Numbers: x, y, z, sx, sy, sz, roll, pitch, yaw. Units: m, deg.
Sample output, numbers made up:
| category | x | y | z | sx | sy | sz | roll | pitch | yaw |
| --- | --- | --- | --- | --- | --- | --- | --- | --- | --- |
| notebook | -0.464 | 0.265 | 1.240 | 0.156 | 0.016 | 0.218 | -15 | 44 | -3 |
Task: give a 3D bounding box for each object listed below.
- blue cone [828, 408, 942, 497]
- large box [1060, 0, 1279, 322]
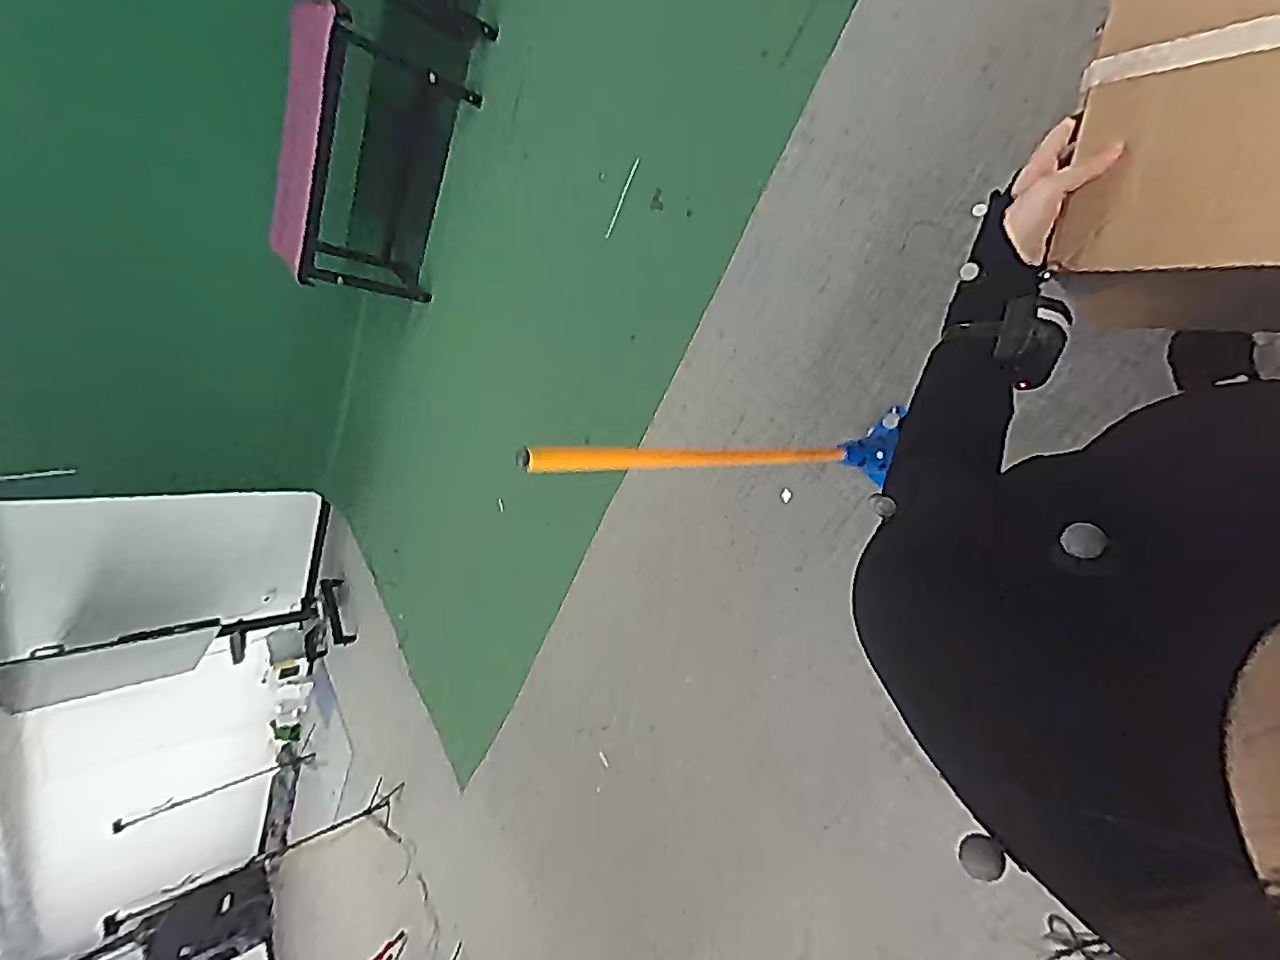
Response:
| category | x | y | z | sx | sy | sz | roll | pitch | yaw |
| --- | --- | --- | --- | --- | --- | --- | --- | --- | --- |
| blue cone | 0.577 | -0.070 | 1.347 | 0.192 | 0.380 | 0.193 | 55 | 126 | 30 |
| large box | 0.622 | -0.305 | 0.415 | 0.408 | 0.320 | 0.320 | 17 | 105 | 43 |
